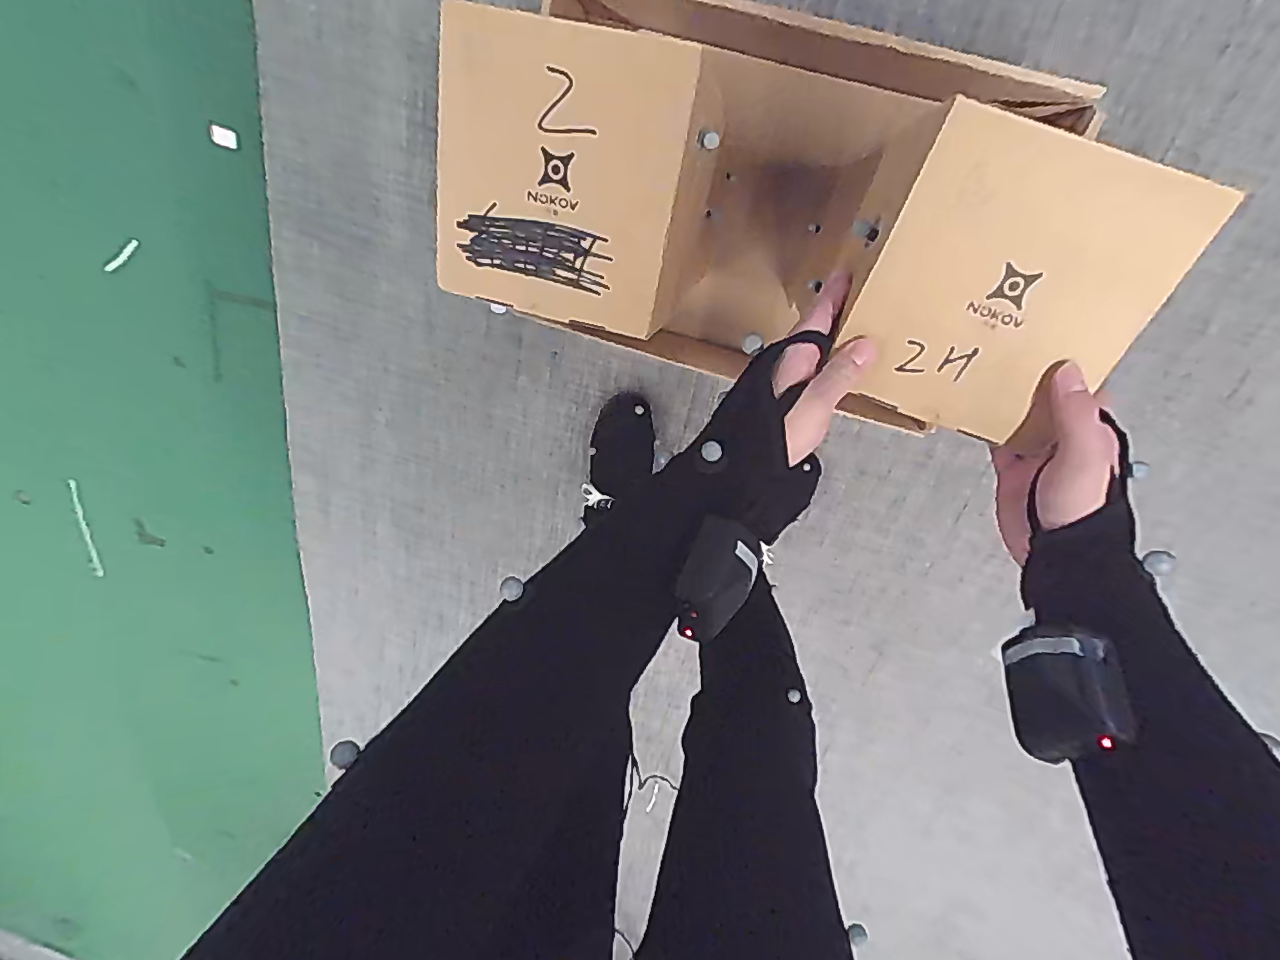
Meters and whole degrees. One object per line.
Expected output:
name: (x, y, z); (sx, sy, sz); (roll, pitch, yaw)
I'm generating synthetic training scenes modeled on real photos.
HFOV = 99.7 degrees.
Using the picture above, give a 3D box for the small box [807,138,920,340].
small box: (0.282, -0.215, 0.550); (0.168, 0.176, 0.179); (21, 119, 2)

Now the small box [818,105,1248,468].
small box: (0.248, -0.143, 0.406); (0.168, 0.176, 0.179); (22, 119, 2)

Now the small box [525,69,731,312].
small box: (-0.005, -0.294, 0.574); (0.168, 0.176, 0.179); (16, 117, 6)
